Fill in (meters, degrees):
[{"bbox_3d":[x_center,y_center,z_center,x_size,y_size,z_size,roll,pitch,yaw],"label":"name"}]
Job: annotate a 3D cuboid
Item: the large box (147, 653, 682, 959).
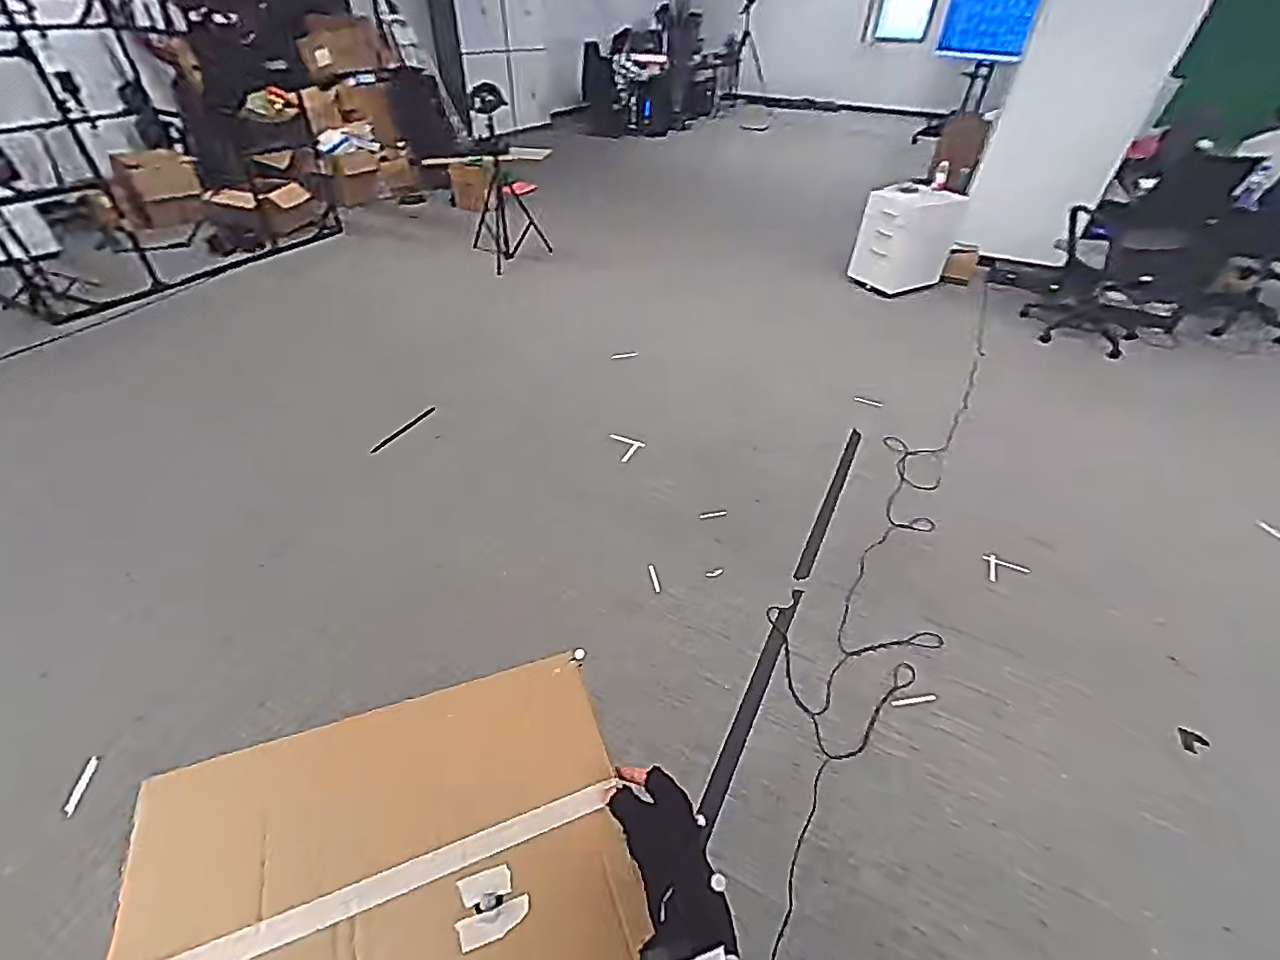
[{"bbox_3d":[-0.220,0.450,0.584,0.408,0.320,0.320,-10,49,-21],"label":"large box"}]
